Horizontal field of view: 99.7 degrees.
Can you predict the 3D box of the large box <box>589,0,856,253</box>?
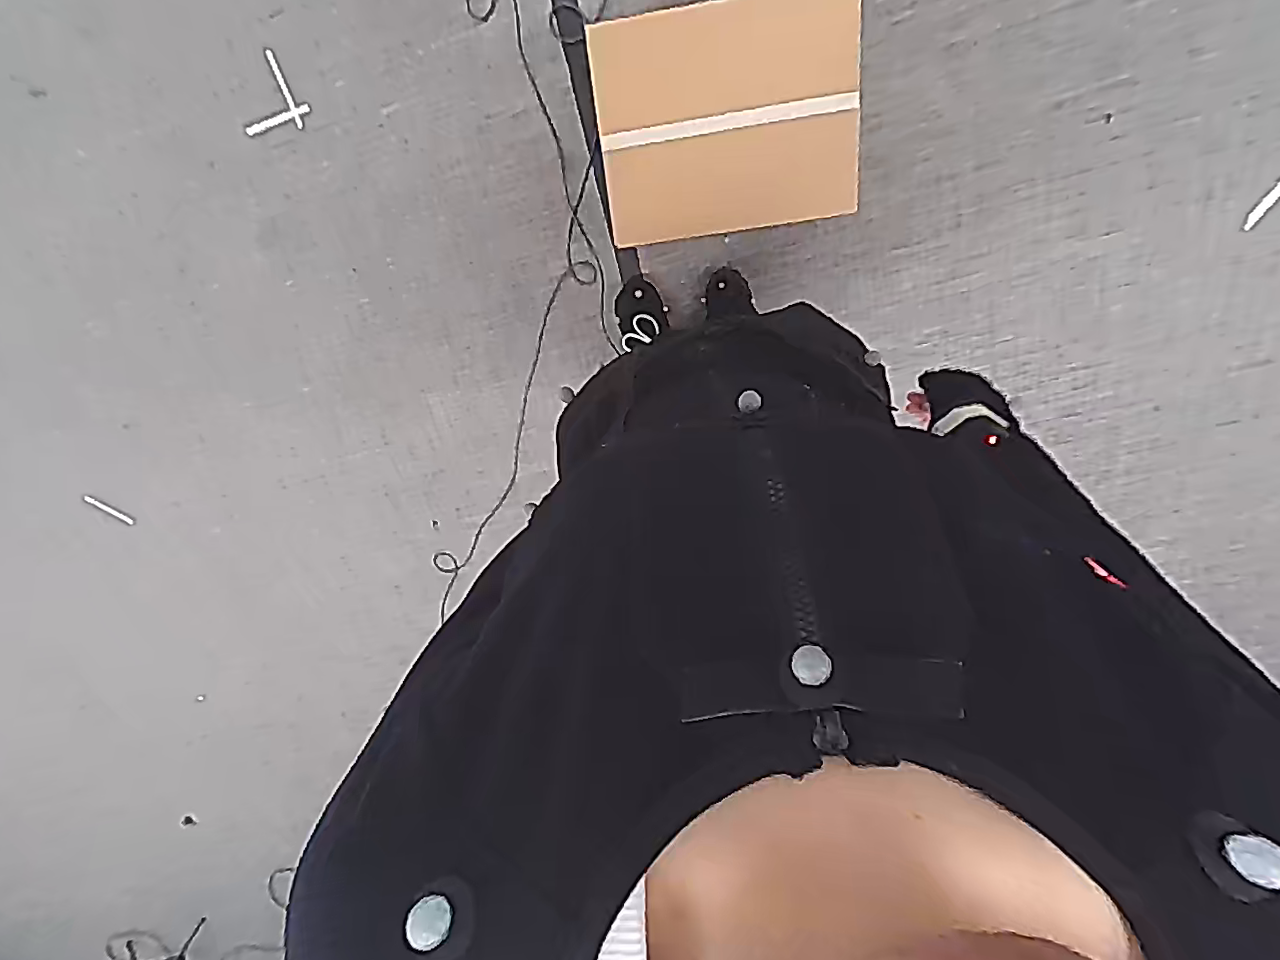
[{"bbox_3d":[0.144,-0.614,0.995,0.408,0.320,0.320,-6,114,5],"label":"large box"}]
